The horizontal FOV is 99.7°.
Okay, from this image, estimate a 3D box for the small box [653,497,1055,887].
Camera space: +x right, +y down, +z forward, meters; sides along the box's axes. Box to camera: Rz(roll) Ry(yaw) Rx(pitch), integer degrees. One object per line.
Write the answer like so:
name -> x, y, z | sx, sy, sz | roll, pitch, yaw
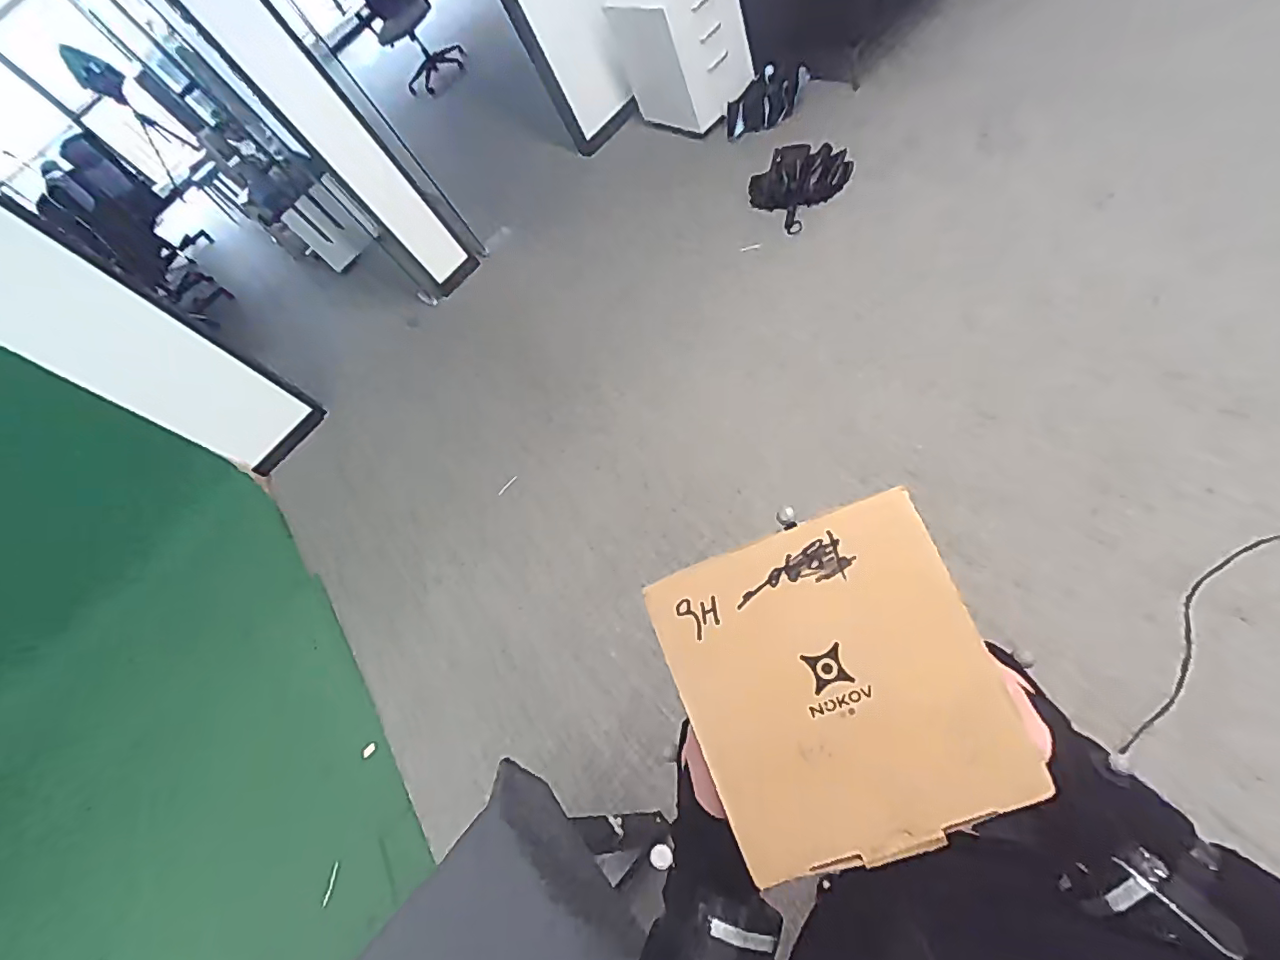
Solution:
small box -> 0.125, 0.124, 0.380 | 0.168, 0.176, 0.179 | -23, 80, 6
